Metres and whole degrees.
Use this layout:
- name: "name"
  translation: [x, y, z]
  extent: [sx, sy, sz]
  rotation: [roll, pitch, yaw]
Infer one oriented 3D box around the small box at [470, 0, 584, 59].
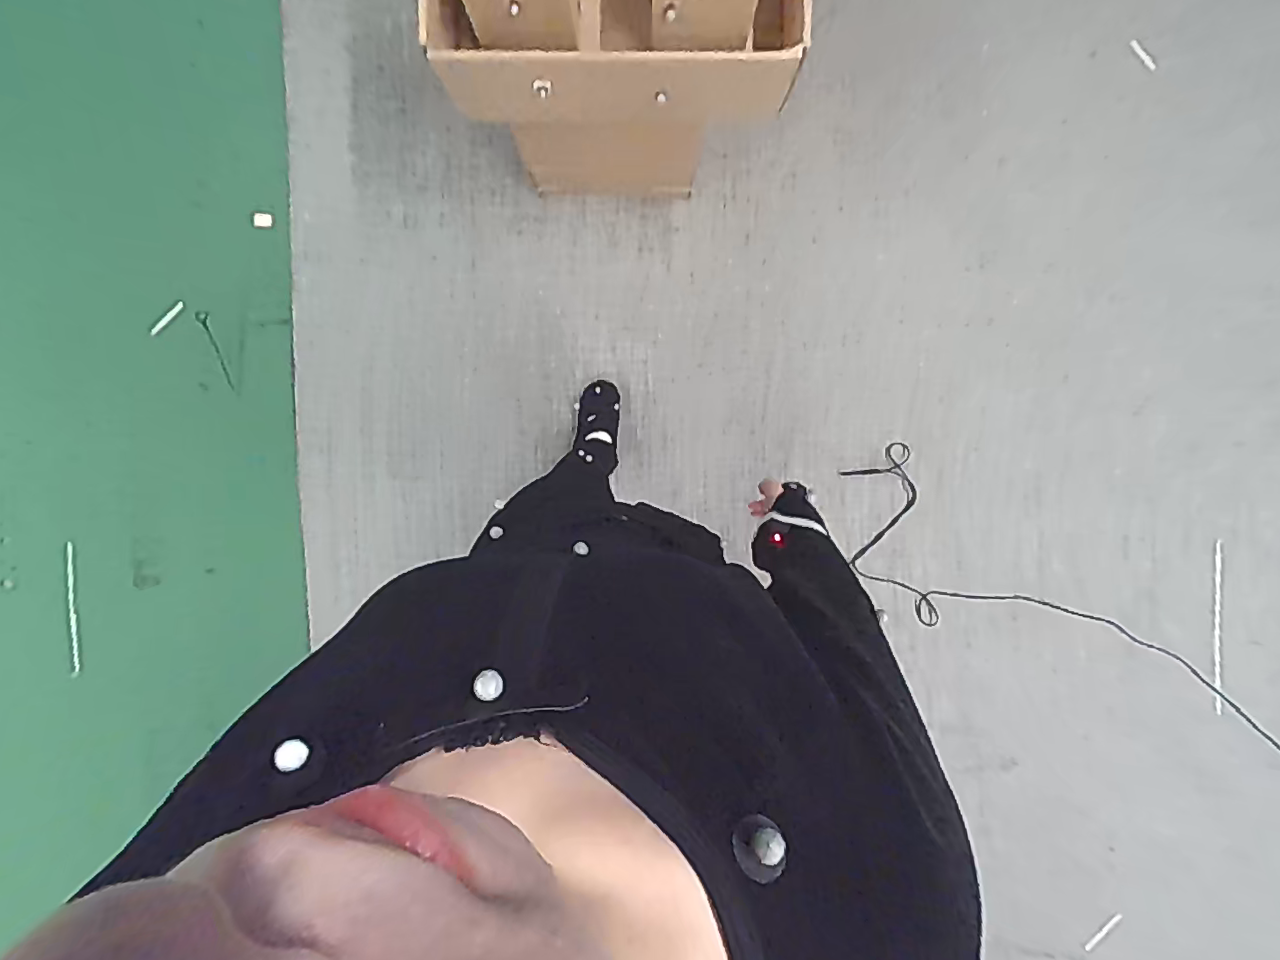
- name: "small box"
  translation: [-0.188, -0.836, 0.889]
  extent: [0.179, 0.176, 0.168]
  rotation: [2, 93, -1]
